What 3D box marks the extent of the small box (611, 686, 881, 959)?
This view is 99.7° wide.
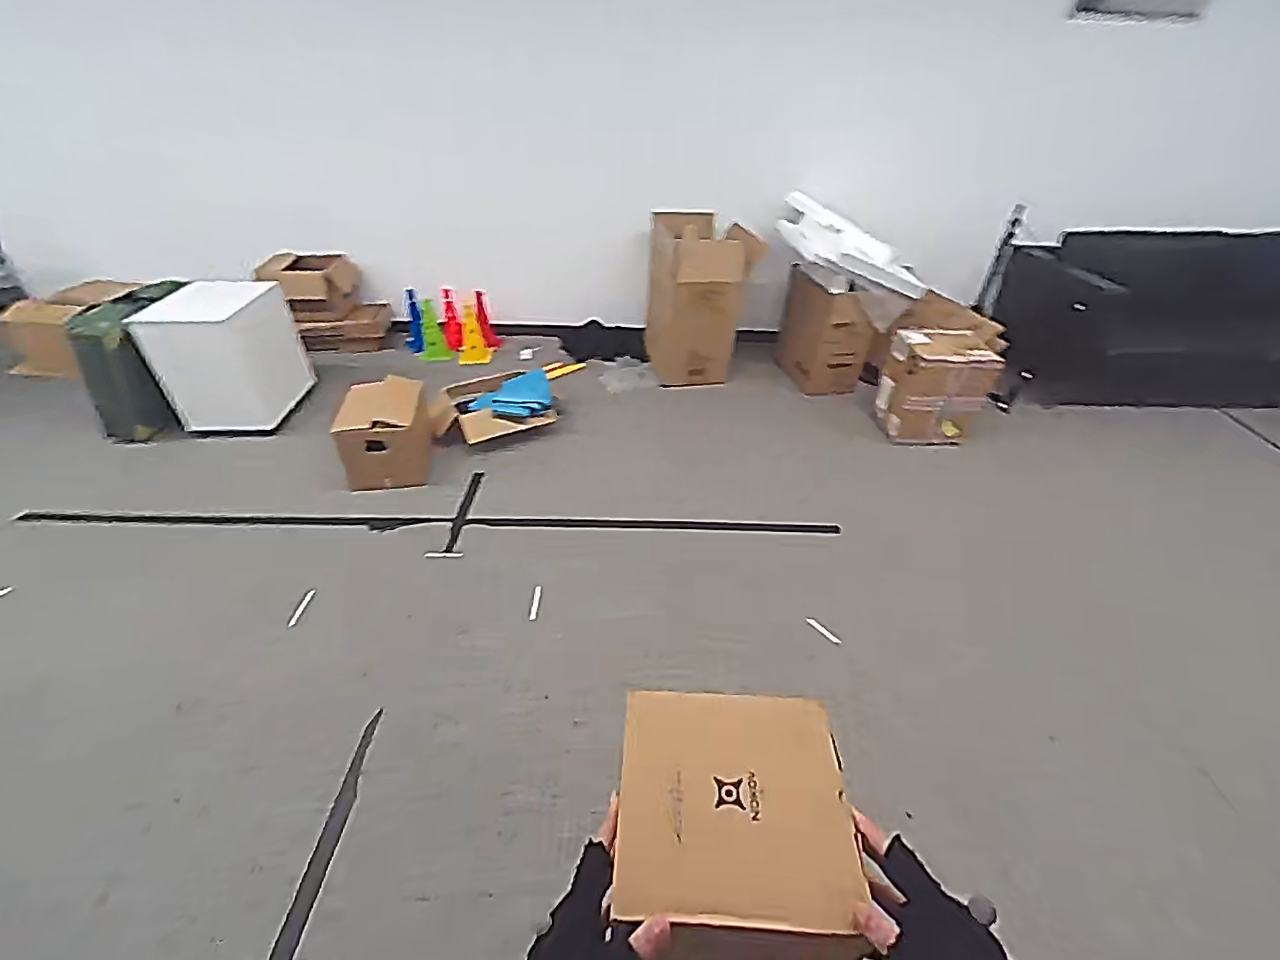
[{"bbox_3d":[0.071,0.296,0.455,0.179,0.176,0.168,0,36,2],"label":"small box"}]
